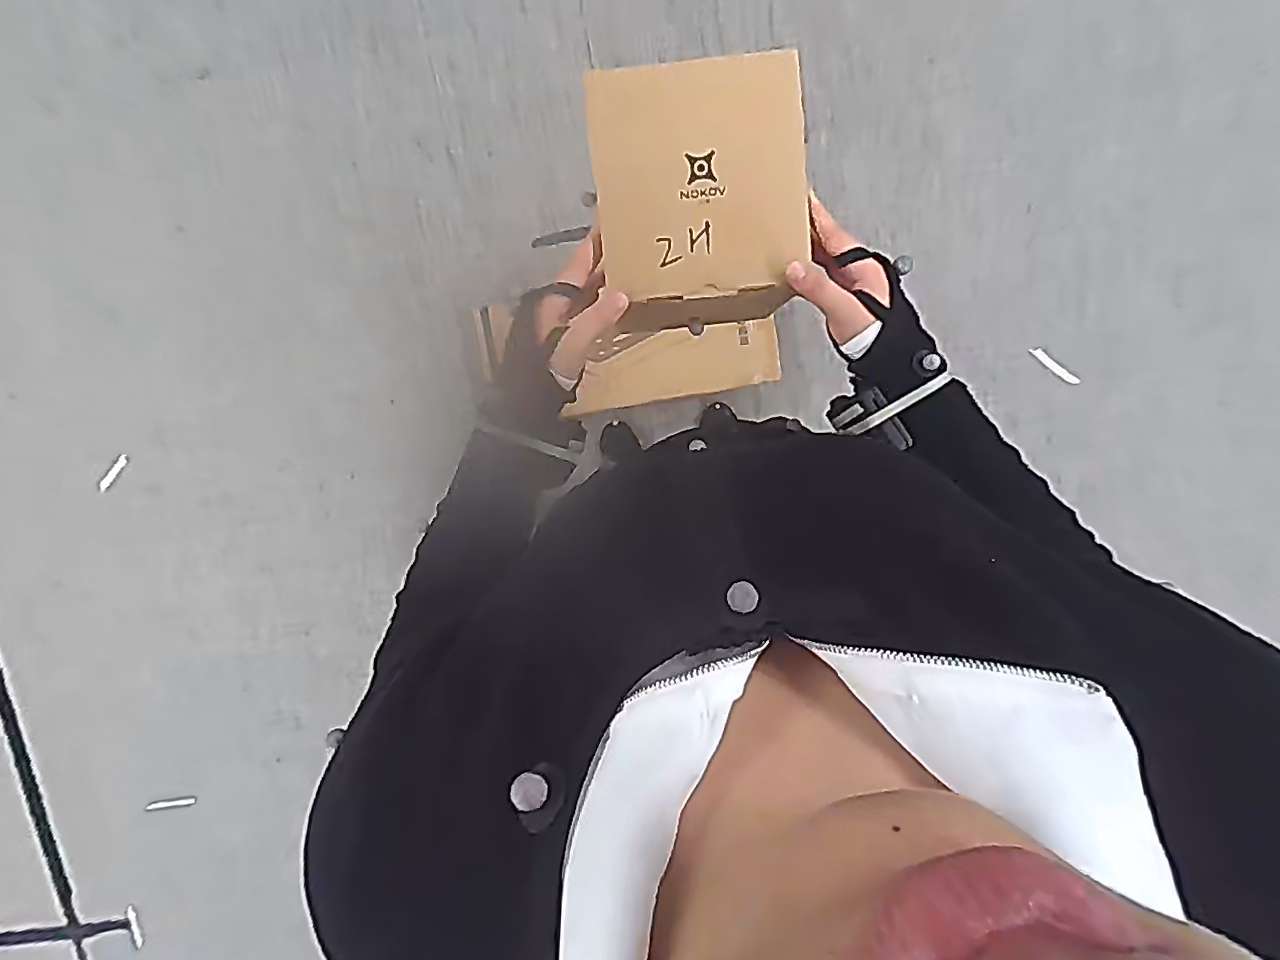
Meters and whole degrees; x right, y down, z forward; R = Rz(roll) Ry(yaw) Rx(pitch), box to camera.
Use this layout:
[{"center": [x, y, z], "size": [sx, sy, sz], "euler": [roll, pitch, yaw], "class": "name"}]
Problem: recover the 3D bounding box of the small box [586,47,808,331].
[{"center": [0.045, -0.246, 0.500], "size": [0.168, 0.176, 0.179], "euler": [-6, 97, 1], "class": "small box"}]
